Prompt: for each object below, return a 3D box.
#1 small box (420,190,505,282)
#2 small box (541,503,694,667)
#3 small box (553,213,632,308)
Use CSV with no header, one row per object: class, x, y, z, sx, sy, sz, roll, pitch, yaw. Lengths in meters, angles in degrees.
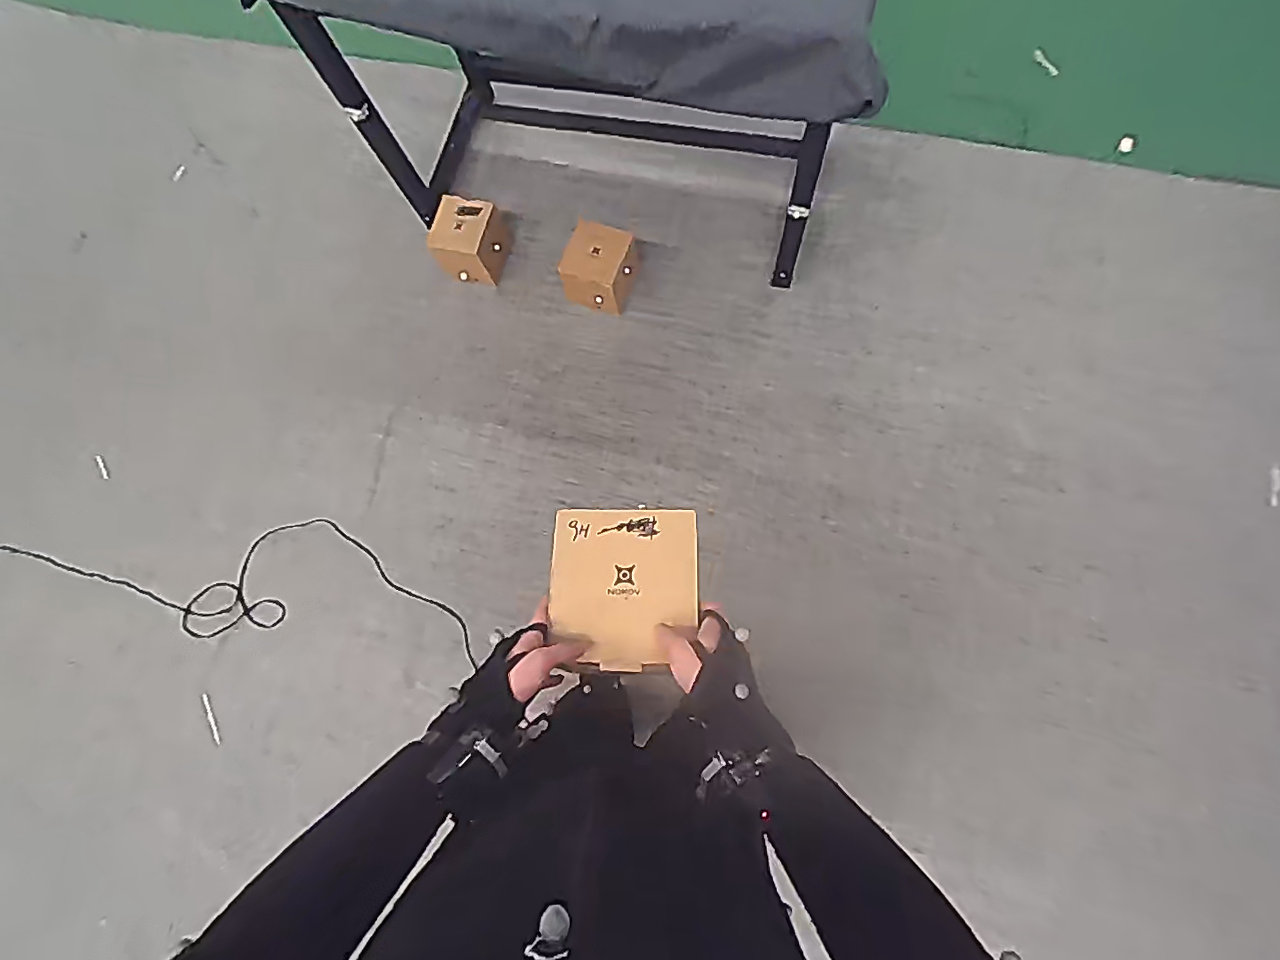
small box,-0.524,-0.732,1.629,0.168,0.176,0.179,12,80,9
small box,-0.017,0.136,0.664,0.168,0.176,0.179,-1,69,3
small box,-0.128,-0.629,1.567,0.168,0.176,0.179,19,78,9
